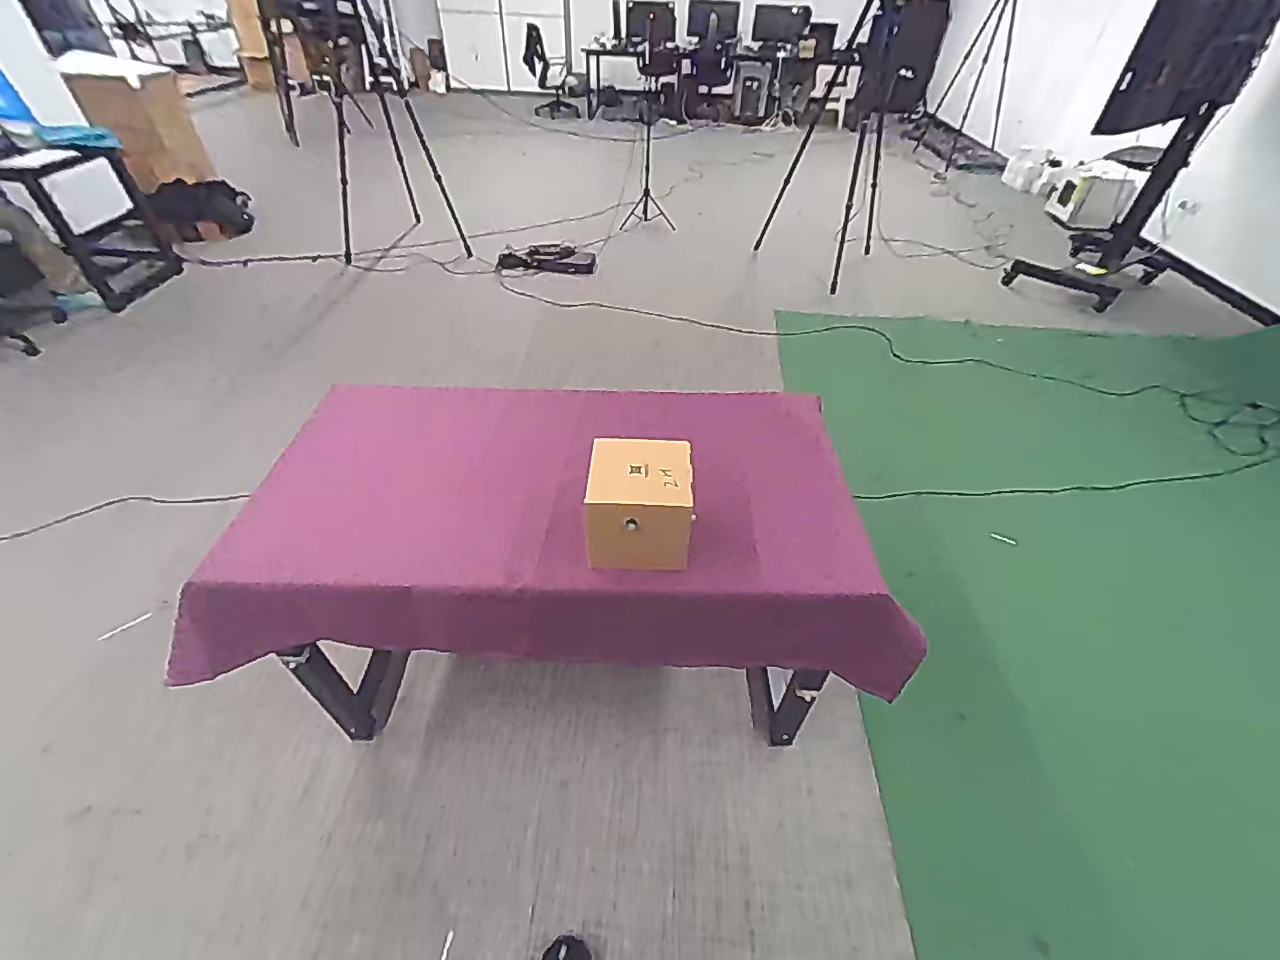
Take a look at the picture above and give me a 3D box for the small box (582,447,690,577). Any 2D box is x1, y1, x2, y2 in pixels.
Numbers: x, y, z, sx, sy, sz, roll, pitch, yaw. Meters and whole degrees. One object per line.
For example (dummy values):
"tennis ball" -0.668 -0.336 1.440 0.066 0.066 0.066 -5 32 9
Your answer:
"small box" -0.003 0.058 0.968 0.179 0.176 0.168 3 43 1
